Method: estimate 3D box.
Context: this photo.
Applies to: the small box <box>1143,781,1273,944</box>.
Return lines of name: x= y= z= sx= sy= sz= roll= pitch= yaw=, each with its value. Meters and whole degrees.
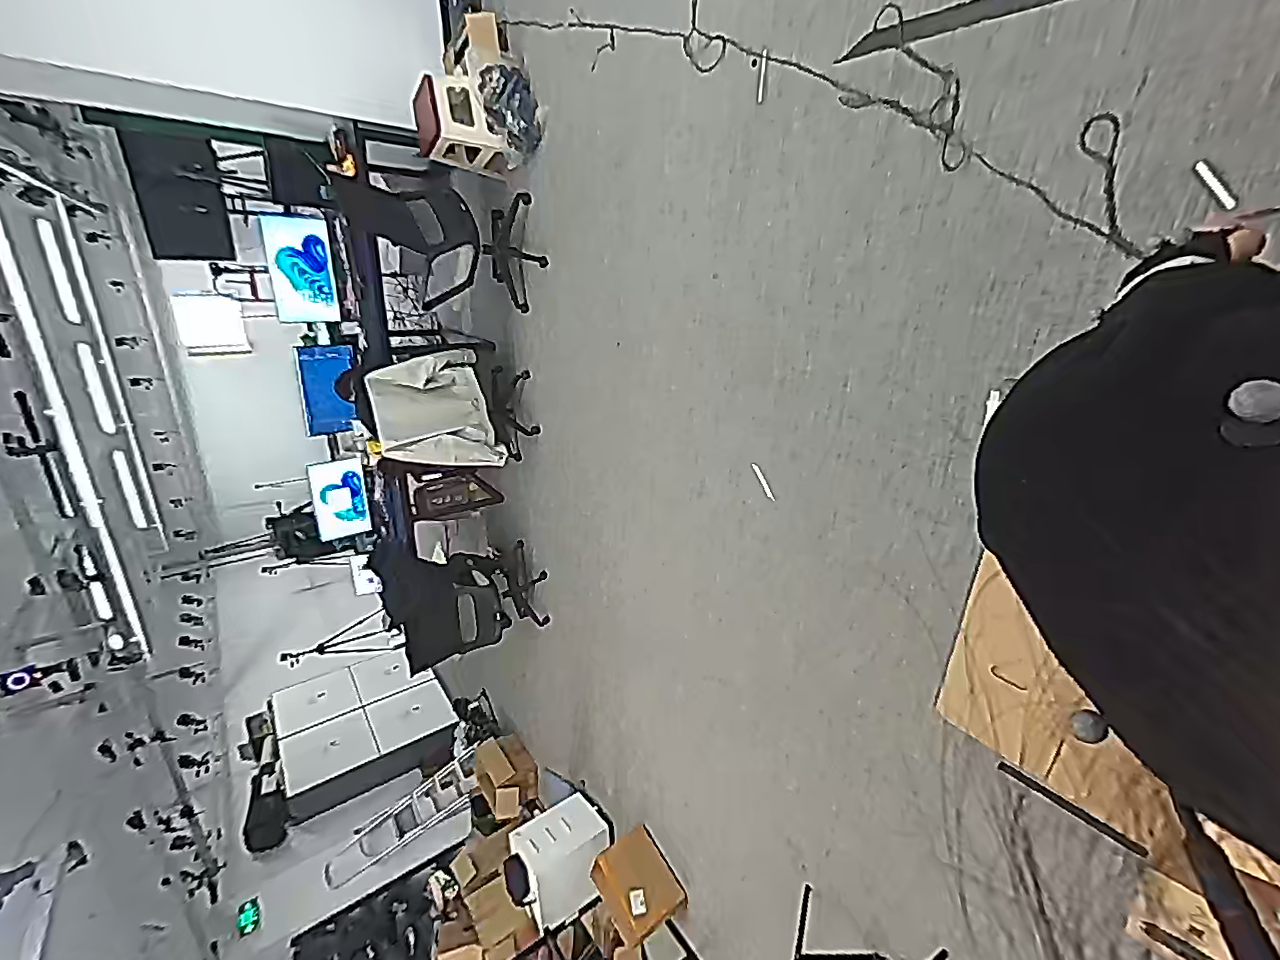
small box: x=1.180 y=0.774 z=1.115 sx=0.168 sy=0.176 sz=0.179 roll=14 pitch=112 yaw=51

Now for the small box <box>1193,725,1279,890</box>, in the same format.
small box: x=1.067 y=0.556 z=0.908 sx=0.168 sy=0.176 sz=0.179 roll=7 pitch=107 yaw=51
